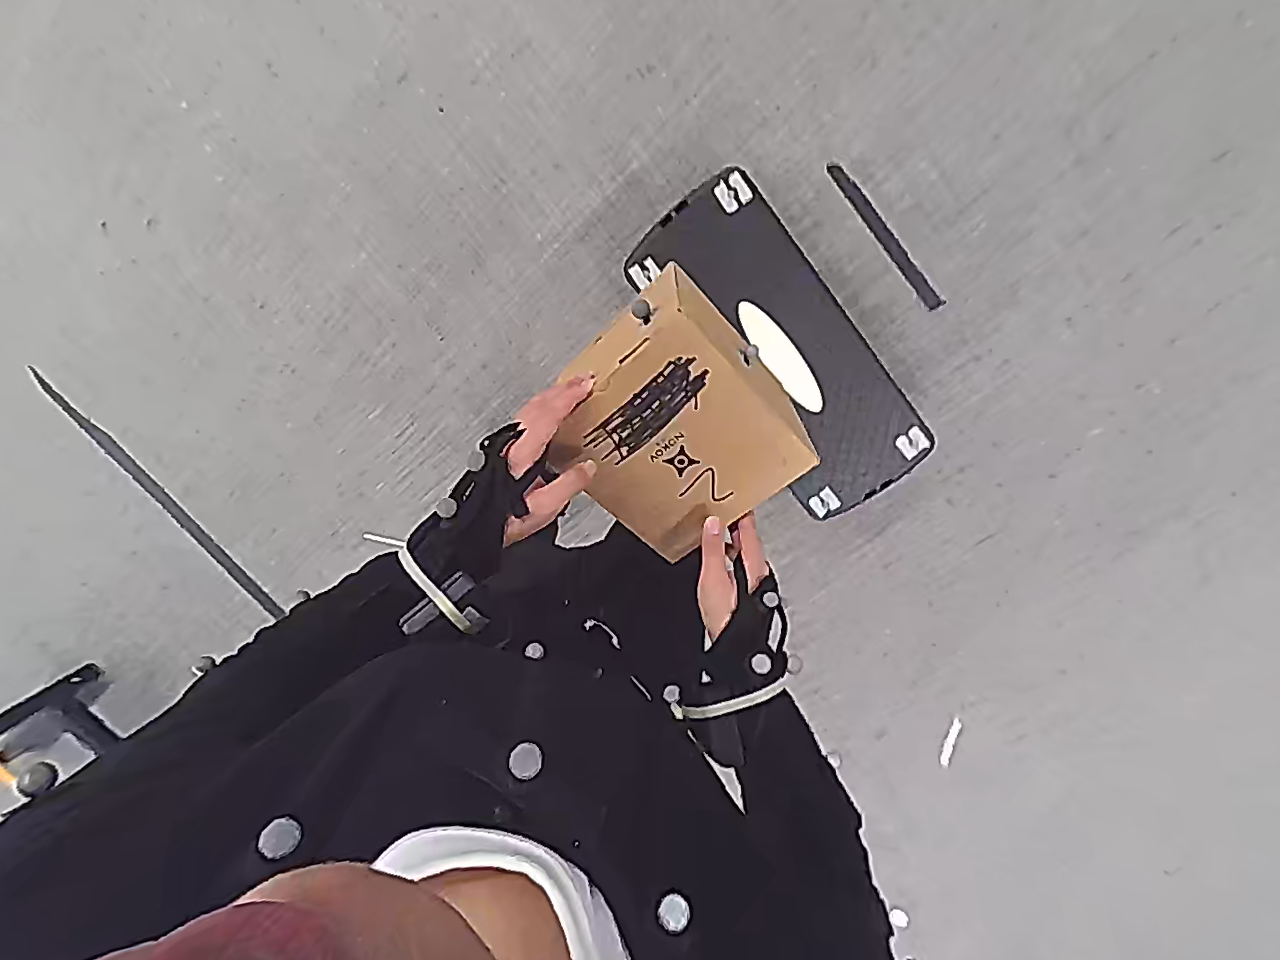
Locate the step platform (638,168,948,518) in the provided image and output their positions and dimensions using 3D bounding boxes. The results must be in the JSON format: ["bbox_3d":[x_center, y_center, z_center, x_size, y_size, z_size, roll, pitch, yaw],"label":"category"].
[{"bbox_3d":[0.300,-0.253,1.089,0.286,0.204,0.684,-38,98,15],"label":"step platform"}]
